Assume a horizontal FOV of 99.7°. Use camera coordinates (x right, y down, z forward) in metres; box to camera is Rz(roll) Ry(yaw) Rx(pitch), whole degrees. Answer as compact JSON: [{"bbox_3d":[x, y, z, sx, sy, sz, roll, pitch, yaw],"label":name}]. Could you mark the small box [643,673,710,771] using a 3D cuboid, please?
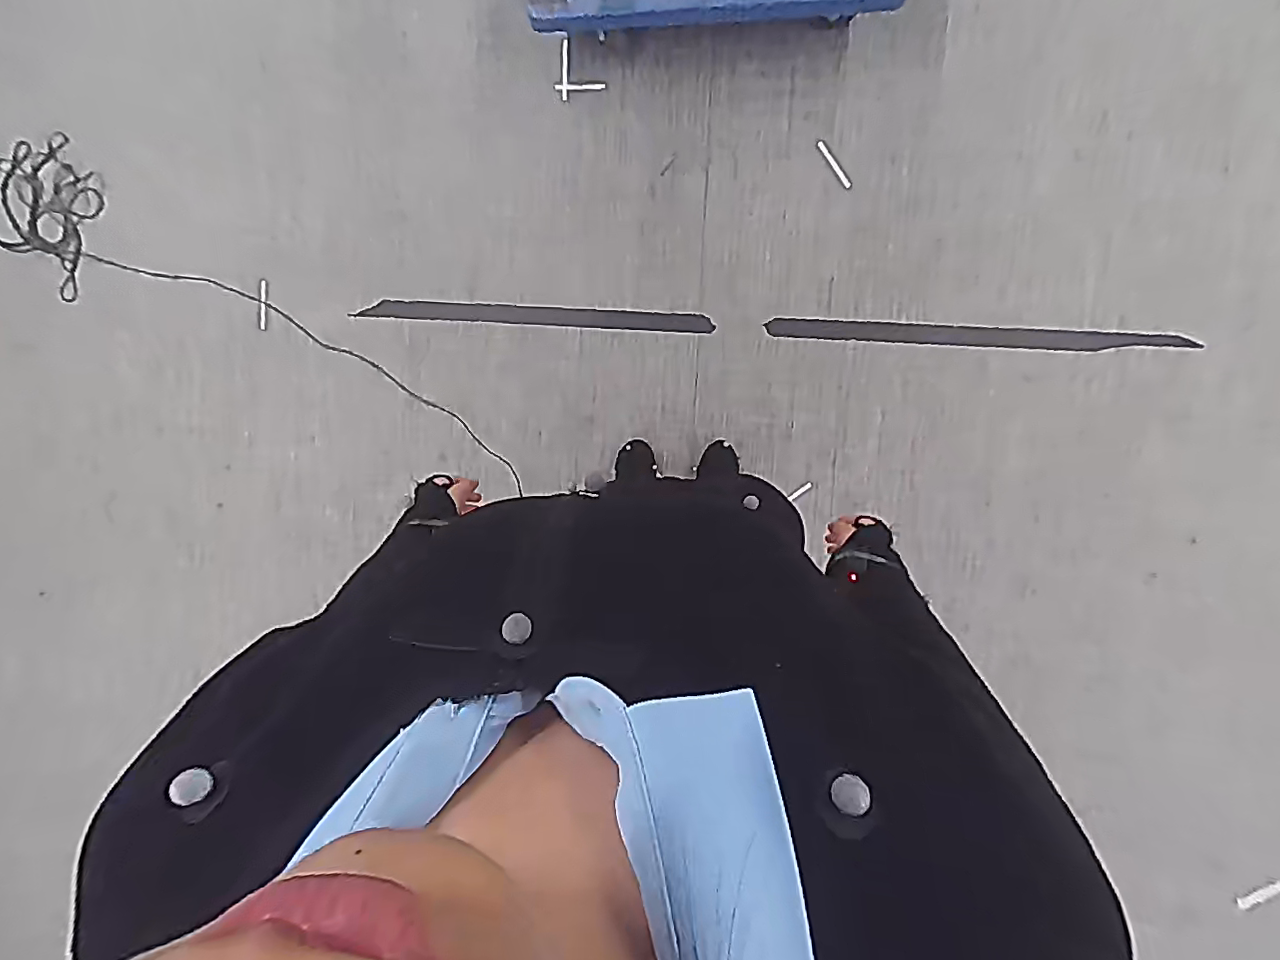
[{"bbox_3d":[0.101,0.642,1.449,0.168,0.176,0.179,2,94,6],"label":"small box"}]
